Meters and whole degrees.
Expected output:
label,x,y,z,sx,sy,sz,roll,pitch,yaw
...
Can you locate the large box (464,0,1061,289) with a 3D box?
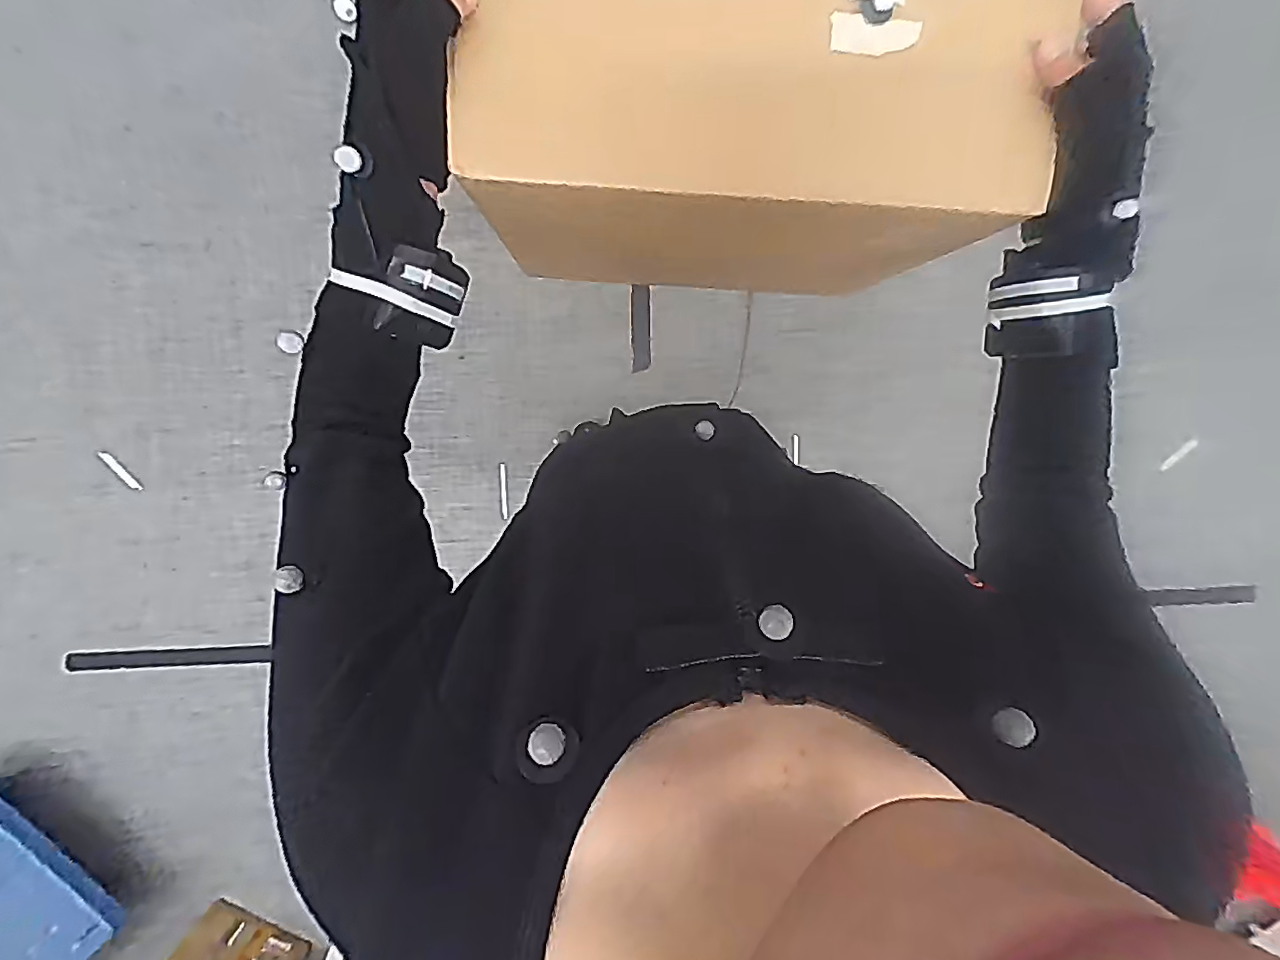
label,x,y,z,sx,sy,sz,roll,pitch,yaw
large box,0.074,-0.369,0.495,0.408,0.320,0.320,1,99,-5
